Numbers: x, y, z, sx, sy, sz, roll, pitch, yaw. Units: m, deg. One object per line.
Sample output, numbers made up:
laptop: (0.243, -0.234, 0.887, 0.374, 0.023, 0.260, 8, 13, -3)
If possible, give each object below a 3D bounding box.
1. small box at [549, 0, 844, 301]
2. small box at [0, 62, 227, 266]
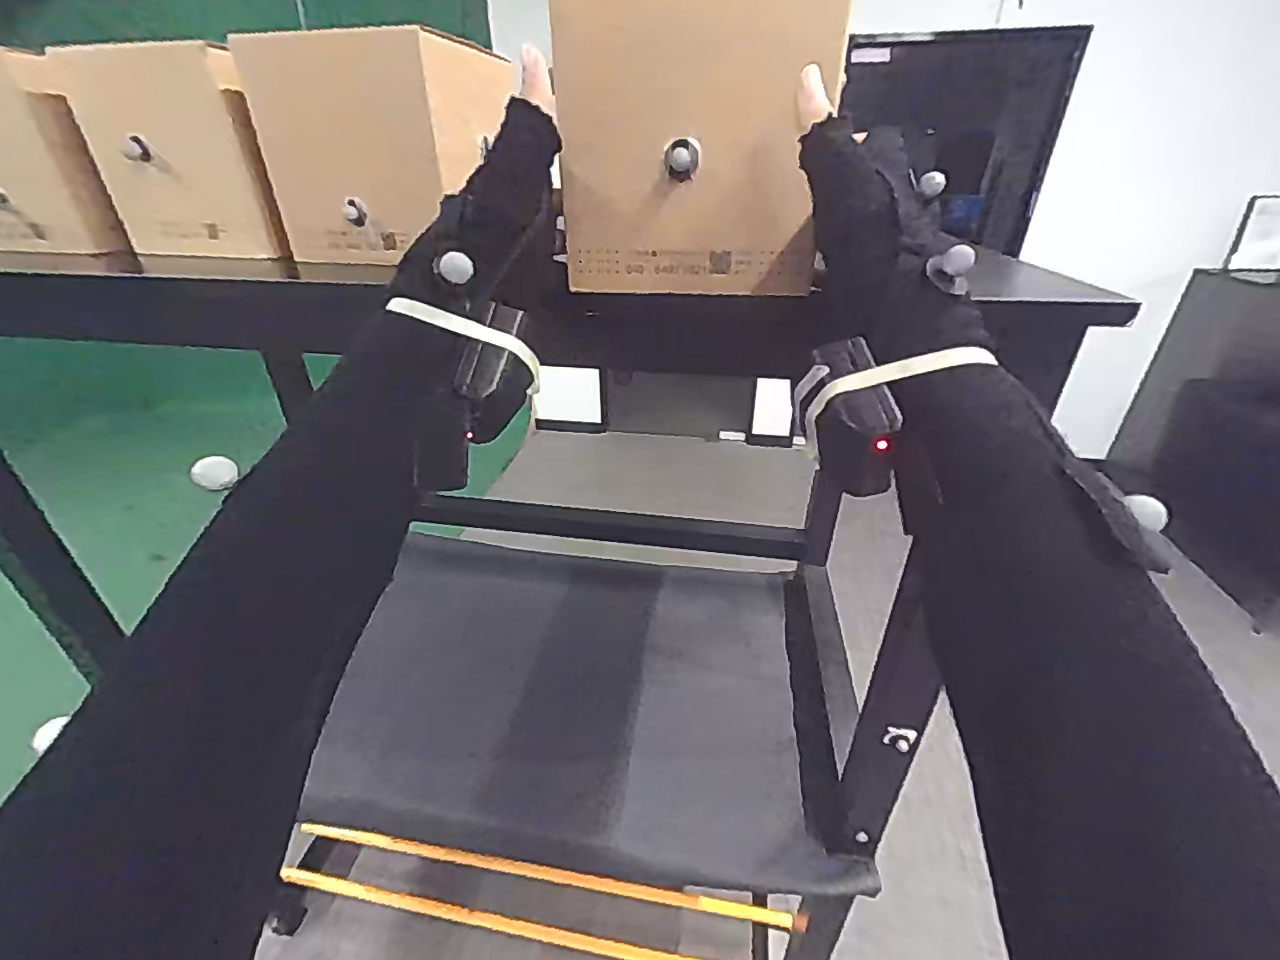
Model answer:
small box: (0.042, -0.235, 0.401, 0.168, 0.176, 0.179, 4, 30, 6)
small box: (-0.602, -0.340, 0.592, 0.168, 0.176, 0.179, 6, 32, 10)
